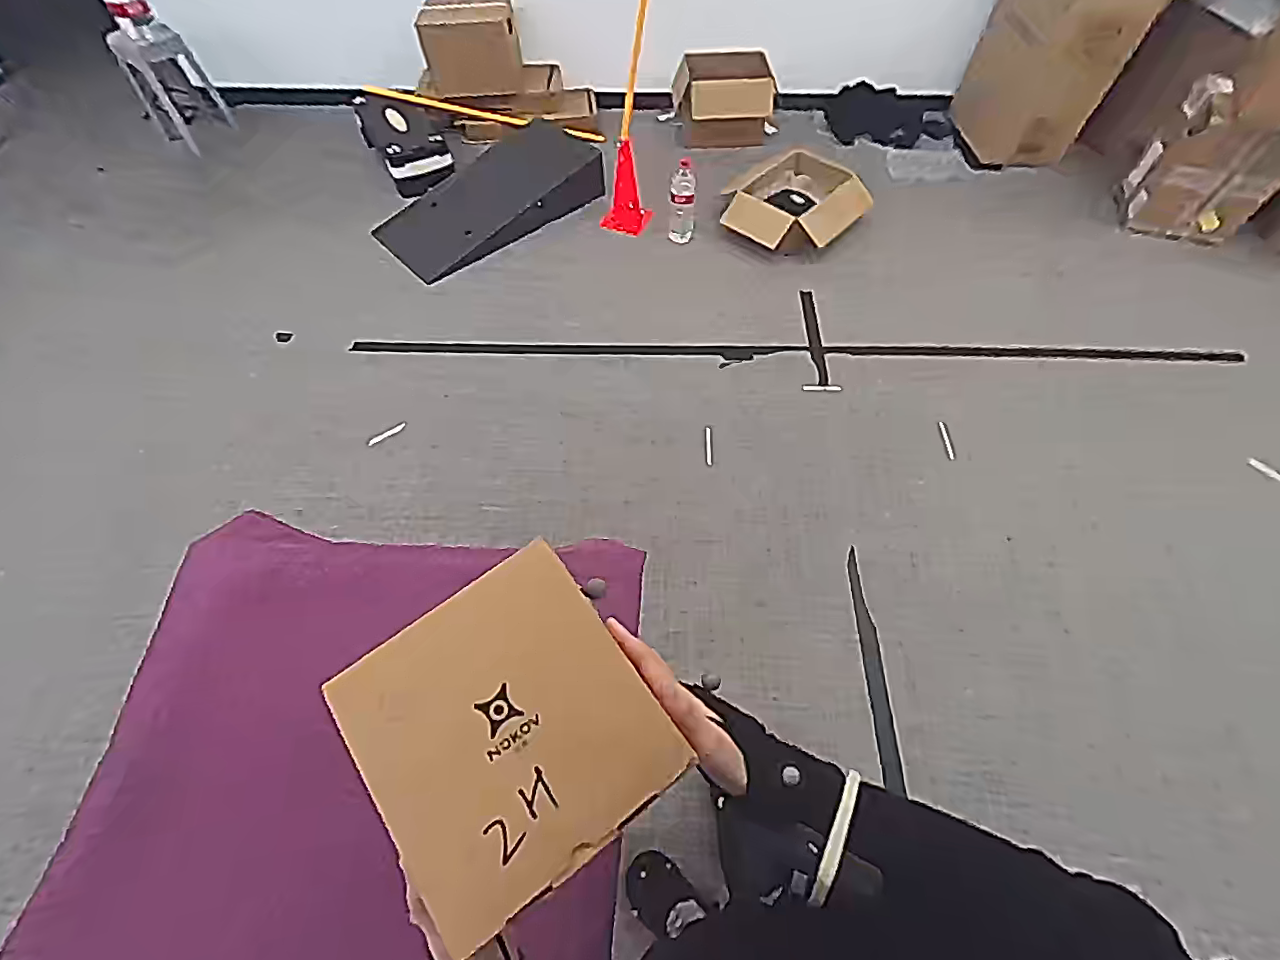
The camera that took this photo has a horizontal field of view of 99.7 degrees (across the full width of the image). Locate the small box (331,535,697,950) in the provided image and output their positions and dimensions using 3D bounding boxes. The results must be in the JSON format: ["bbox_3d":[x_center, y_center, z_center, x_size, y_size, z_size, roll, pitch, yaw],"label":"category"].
[{"bbox_3d":[-0.079,0.175,0.402,0.168,0.176,0.179,-35,71,-12],"label":"small box"}]
